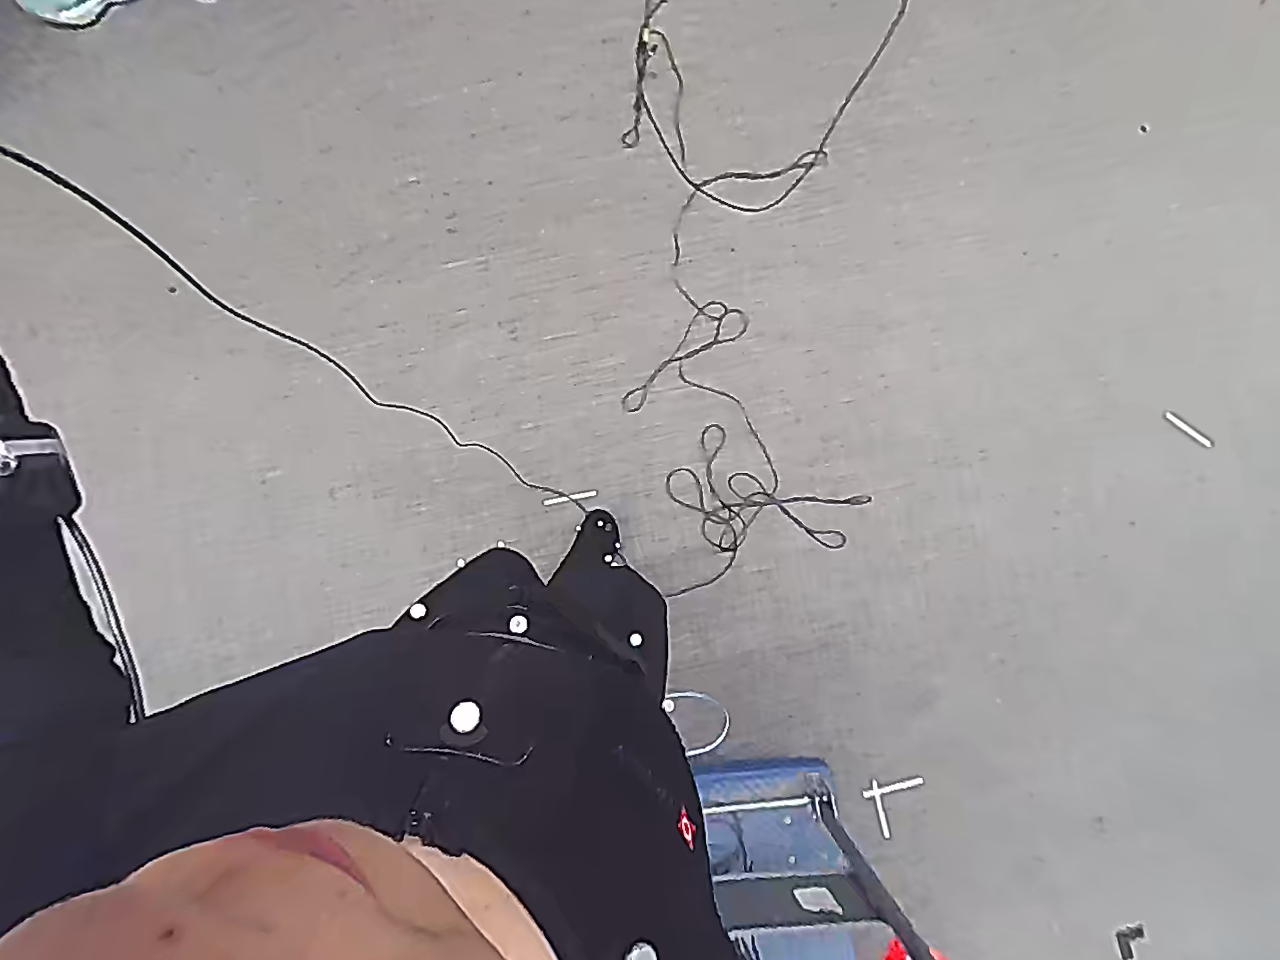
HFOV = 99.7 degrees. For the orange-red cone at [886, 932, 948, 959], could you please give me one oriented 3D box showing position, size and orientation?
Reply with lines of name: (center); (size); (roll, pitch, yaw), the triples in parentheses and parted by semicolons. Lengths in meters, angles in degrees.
orange-red cone: (0.660, 1.197, 1.115); (0.198, 0.360, 0.199); (33, 88, 3)
